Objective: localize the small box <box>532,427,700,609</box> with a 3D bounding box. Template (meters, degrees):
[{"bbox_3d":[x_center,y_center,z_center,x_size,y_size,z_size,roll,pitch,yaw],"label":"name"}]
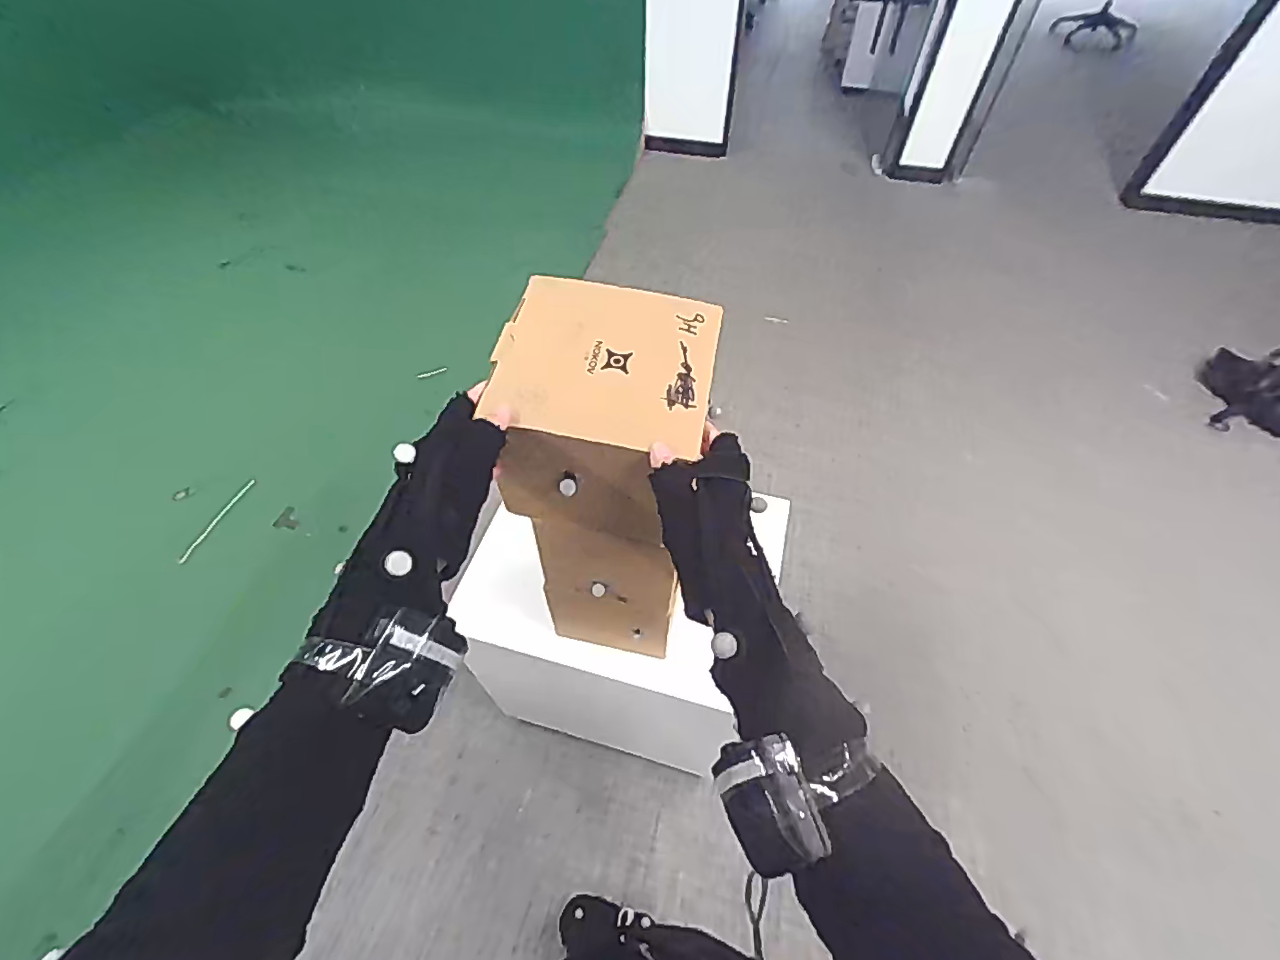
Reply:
[{"bbox_3d":[-0.024,0.036,0.680,0.168,0.176,0.179,9,52,6],"label":"small box"}]

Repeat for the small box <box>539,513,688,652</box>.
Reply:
[{"bbox_3d":[-0.031,0.140,0.807,0.179,0.176,0.168,9,53,8],"label":"small box"}]

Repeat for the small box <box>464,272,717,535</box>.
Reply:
[{"bbox_3d":[-0.035,-0.063,0.507,0.179,0.176,0.168,11,62,4],"label":"small box"}]
